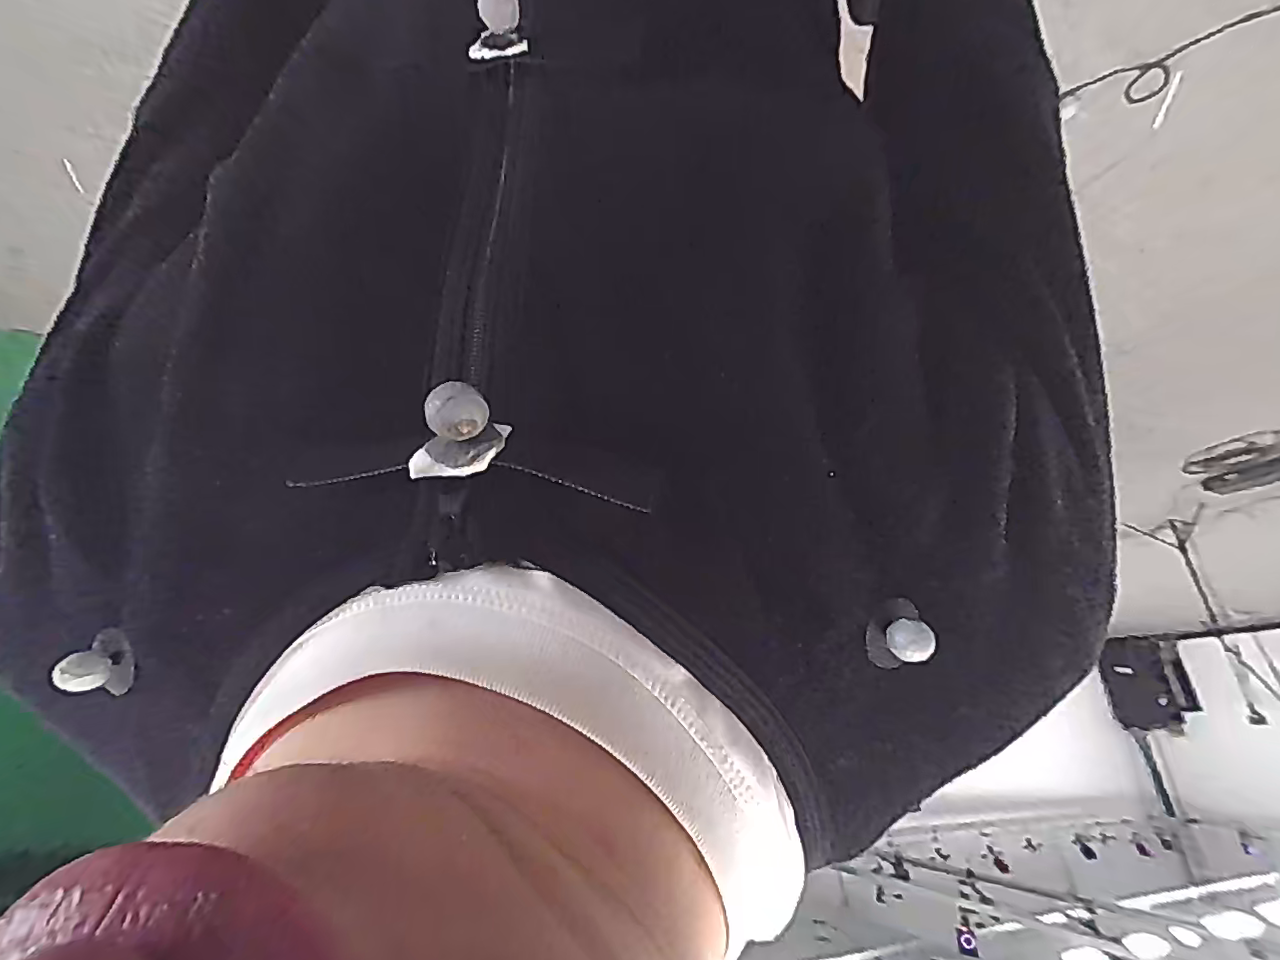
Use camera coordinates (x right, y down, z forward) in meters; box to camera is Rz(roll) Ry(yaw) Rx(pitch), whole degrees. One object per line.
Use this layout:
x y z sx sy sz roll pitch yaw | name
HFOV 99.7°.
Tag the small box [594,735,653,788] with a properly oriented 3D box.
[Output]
-0.061 1.061 2.038 0.168 0.176 0.179 13 149 -25 | small box
